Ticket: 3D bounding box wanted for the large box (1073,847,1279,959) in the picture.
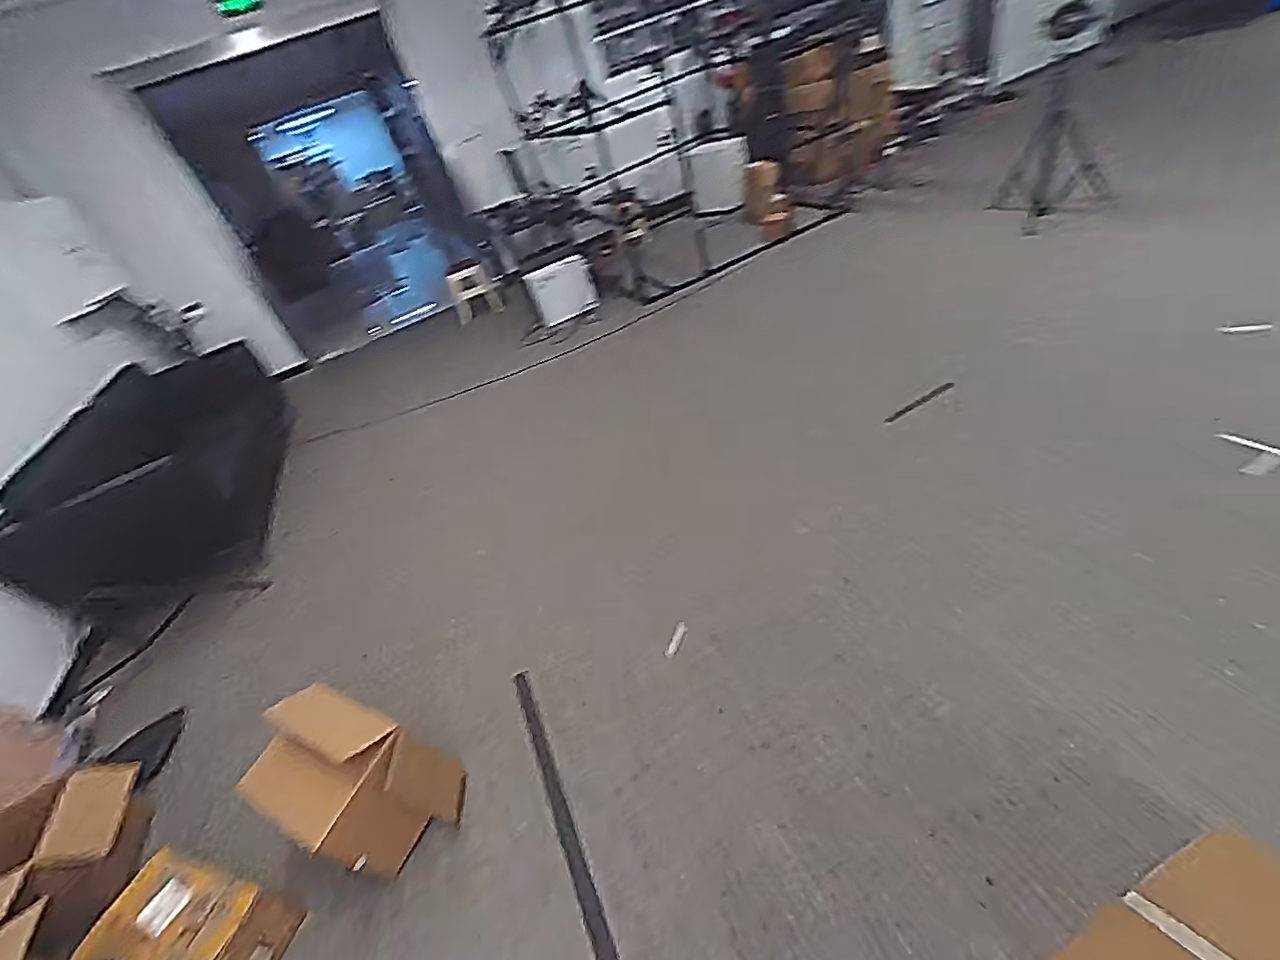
[{"bbox_3d":[0.718,0.647,0.476,0.320,0.320,0.408,-34,-8,-3],"label":"large box"}]
